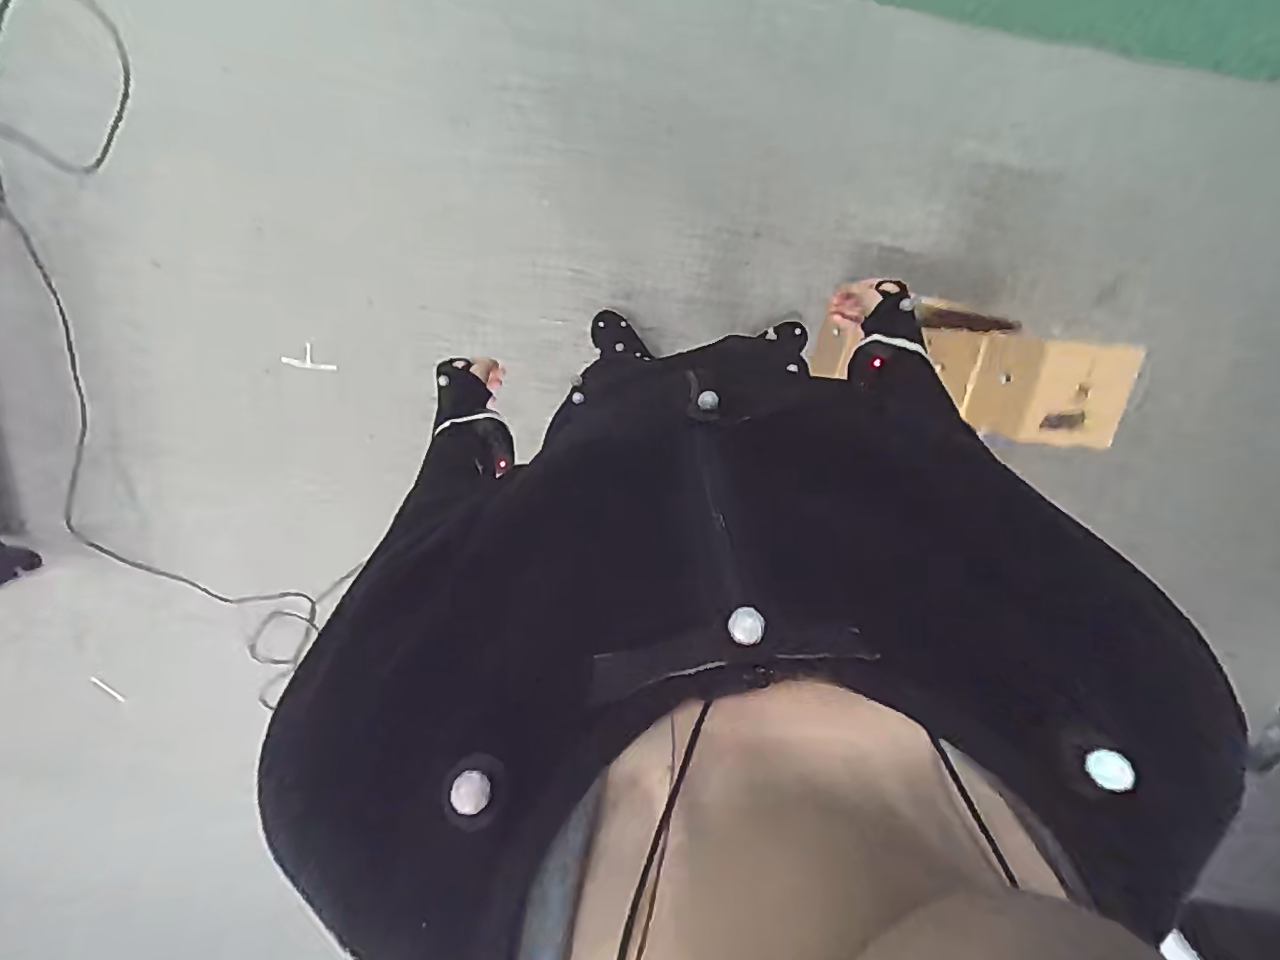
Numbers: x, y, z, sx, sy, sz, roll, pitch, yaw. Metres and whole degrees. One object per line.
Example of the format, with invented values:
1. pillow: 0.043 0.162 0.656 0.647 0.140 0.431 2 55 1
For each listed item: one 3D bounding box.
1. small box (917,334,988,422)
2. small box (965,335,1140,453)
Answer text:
1. small box: 0.729 -0.212 1.144 0.179 0.176 0.168 9 109 -2
2. small box: 0.732 -0.162 0.987 0.168 0.176 0.179 6 108 -2
